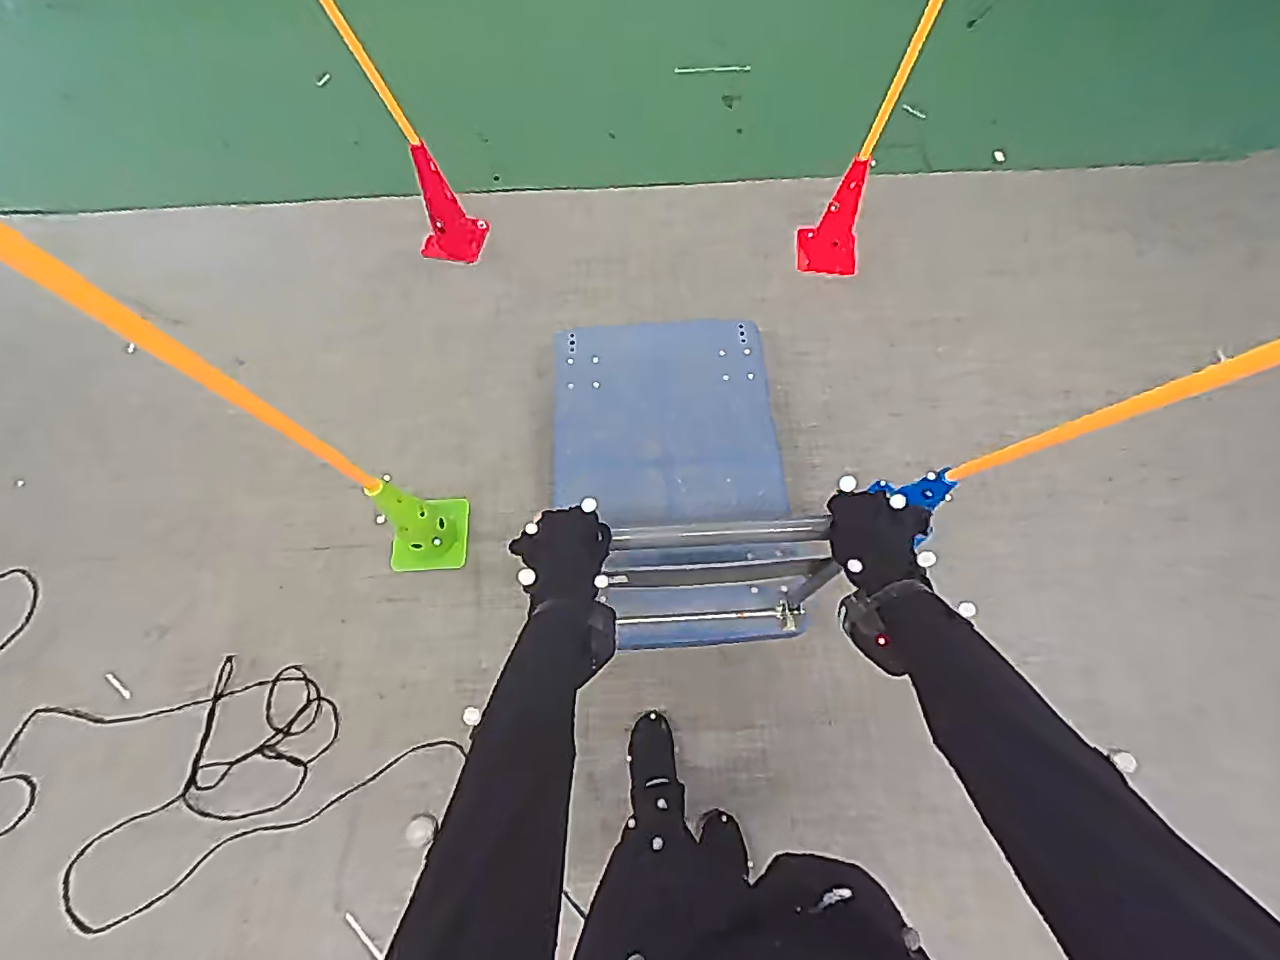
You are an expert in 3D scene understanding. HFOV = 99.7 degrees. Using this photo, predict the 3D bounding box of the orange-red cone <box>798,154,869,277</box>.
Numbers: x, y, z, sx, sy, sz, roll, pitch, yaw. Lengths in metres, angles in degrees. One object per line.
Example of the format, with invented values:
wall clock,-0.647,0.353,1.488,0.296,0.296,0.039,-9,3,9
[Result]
orange-red cone,0.639,-0.843,1.693,0.198,0.360,0.199,8,69,5
